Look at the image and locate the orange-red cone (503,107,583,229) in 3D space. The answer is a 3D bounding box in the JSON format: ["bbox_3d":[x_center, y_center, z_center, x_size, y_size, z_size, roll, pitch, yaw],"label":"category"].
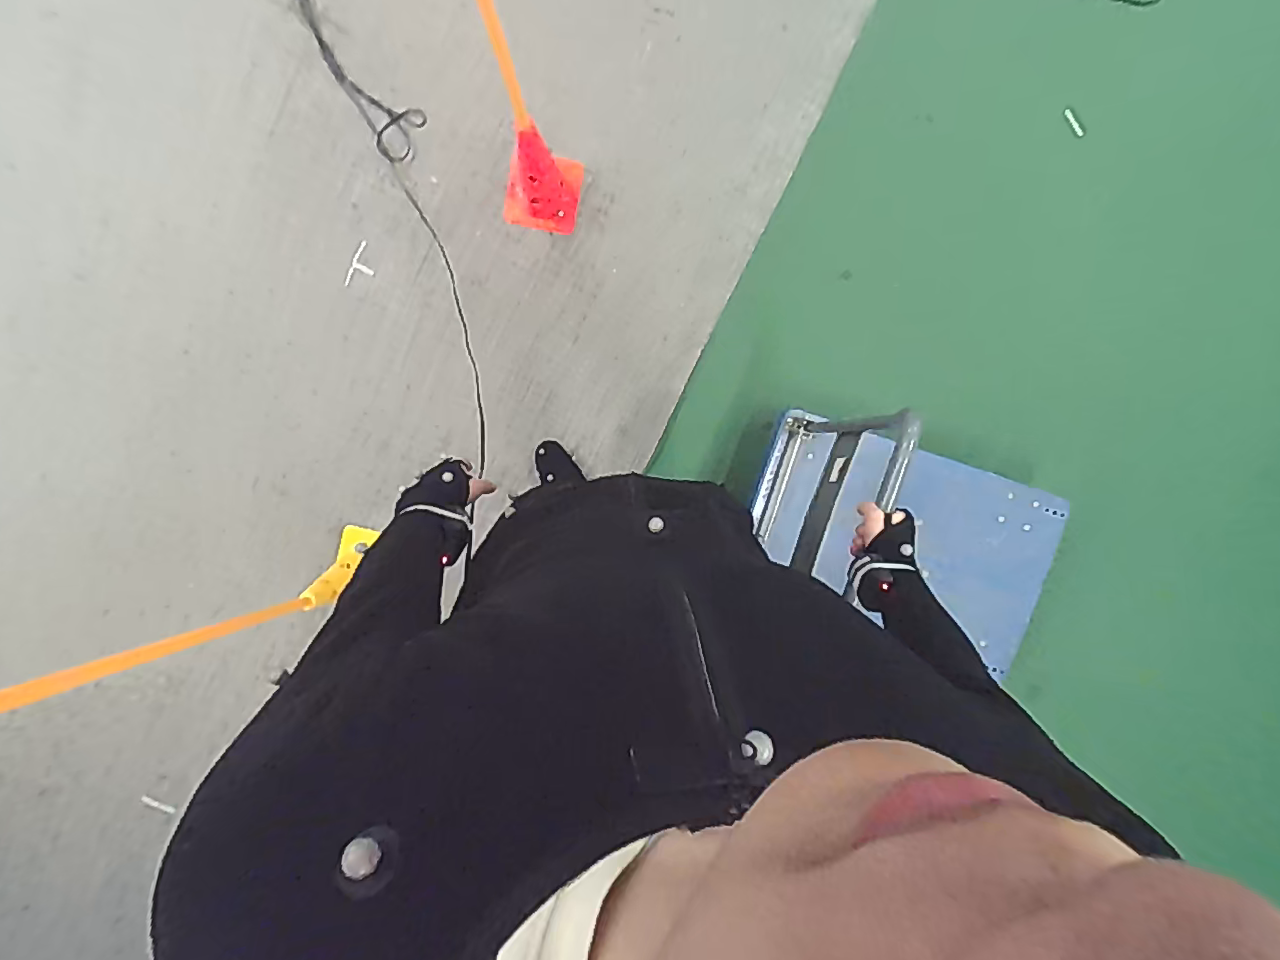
[{"bbox_3d":[-0.258,-0.800,1.334,0.198,0.360,0.199,12,94,-5],"label":"orange-red cone"}]
